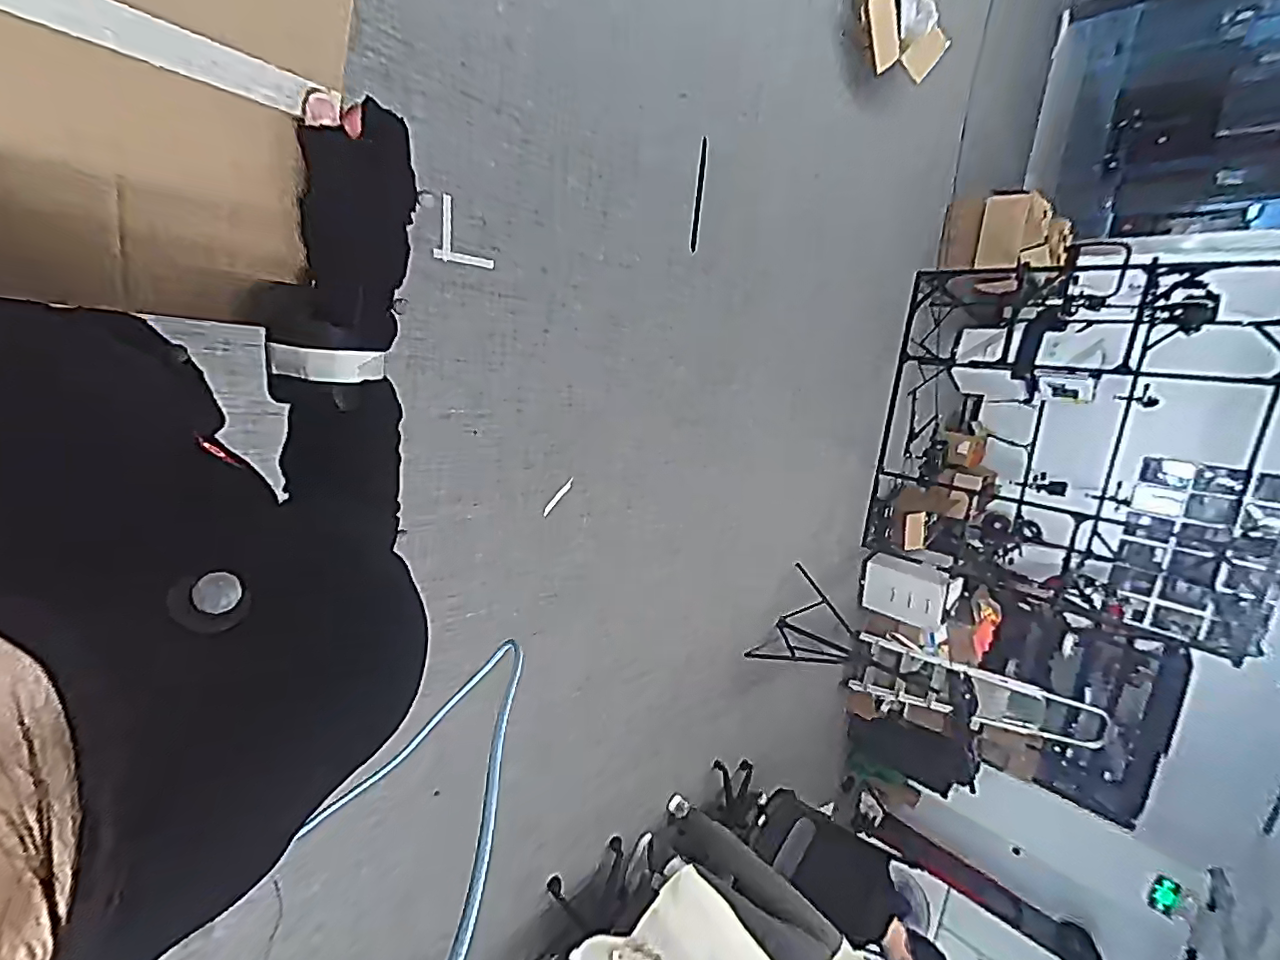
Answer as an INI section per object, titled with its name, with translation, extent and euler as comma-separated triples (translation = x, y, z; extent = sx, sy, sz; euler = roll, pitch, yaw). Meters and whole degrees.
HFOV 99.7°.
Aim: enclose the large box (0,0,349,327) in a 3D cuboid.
[large box]
translation = -0.417, -0.314, 0.274
extent = 0.408, 0.320, 0.320
euler = -5, 138, -45
